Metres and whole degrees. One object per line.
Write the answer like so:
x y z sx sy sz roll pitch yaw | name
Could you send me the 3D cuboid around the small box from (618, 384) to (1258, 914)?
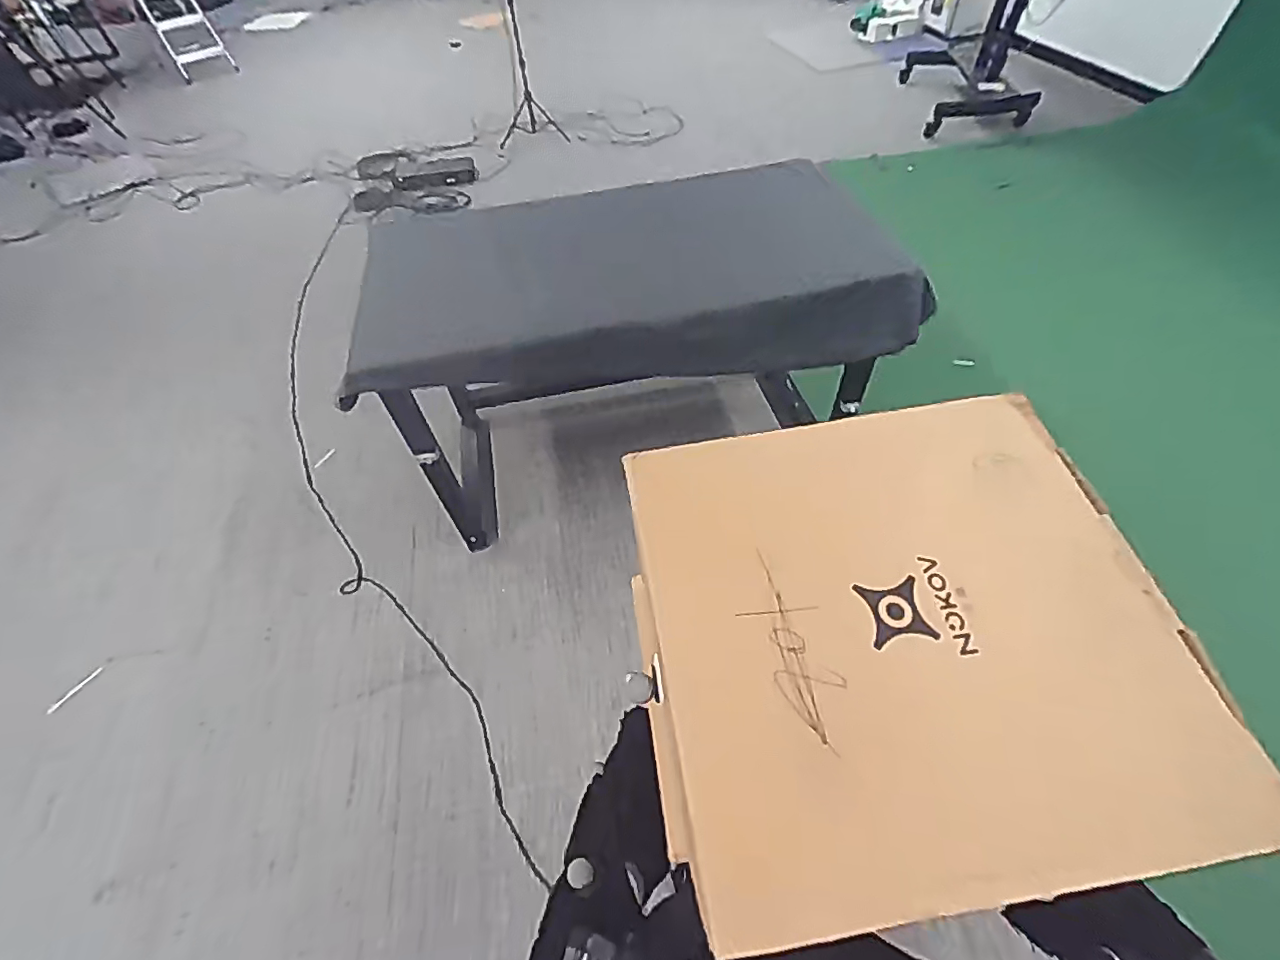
0.092 0.081 0.266 0.179 0.176 0.168 -11 59 -1 | small box
